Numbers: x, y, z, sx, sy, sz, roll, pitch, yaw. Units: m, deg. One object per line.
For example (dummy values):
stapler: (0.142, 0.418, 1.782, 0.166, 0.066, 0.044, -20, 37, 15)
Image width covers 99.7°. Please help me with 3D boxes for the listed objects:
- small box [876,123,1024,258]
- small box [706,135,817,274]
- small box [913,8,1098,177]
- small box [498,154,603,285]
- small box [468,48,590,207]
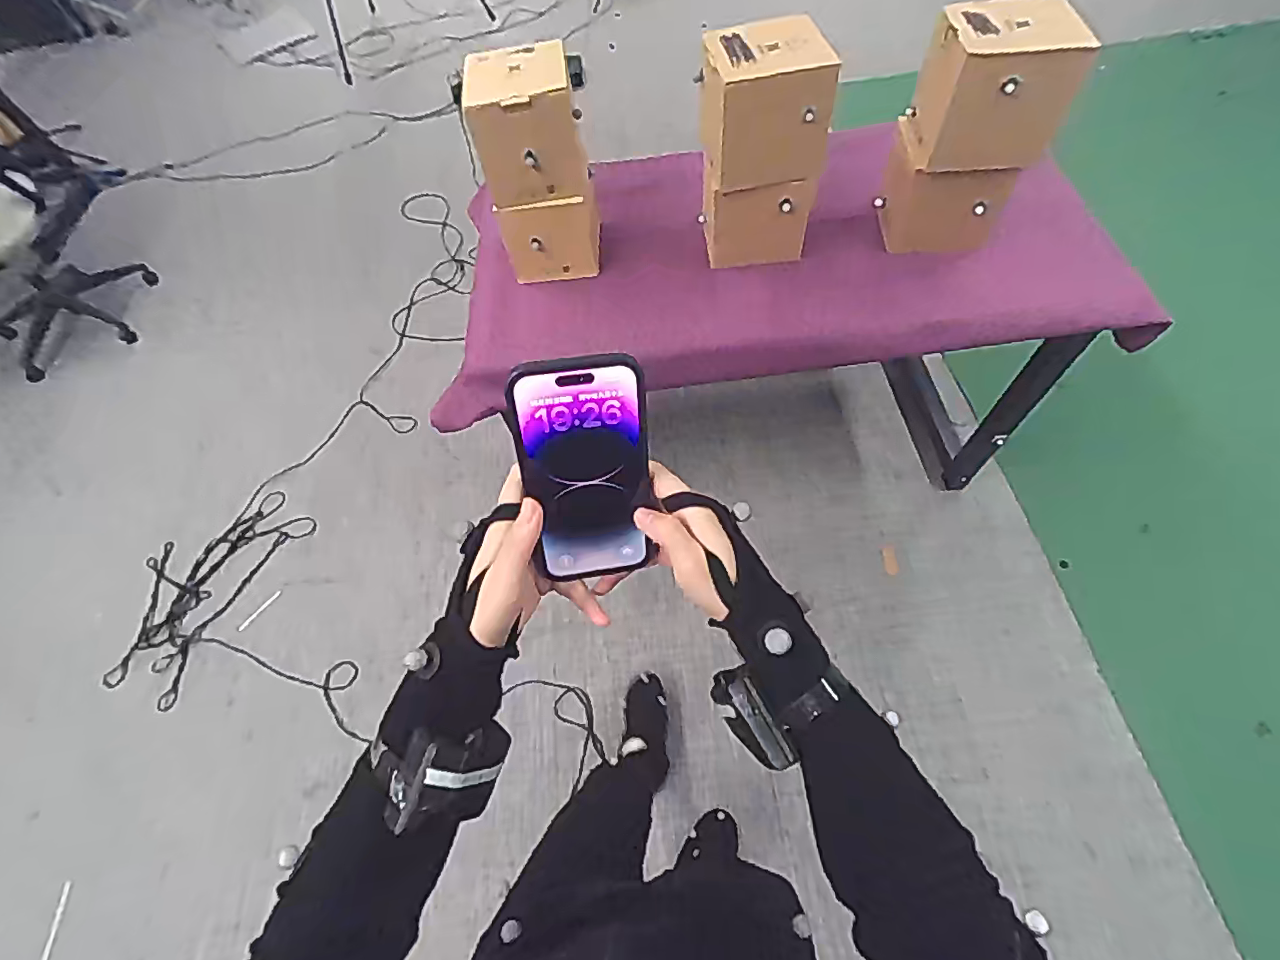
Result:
small box: (0.560, -0.534, 1.003, 0.179, 0.176, 0.168, 1, 60, 7)
small box: (0.221, -0.520, 1.032, 0.179, 0.176, 0.168, -5, 59, 4)
small box: (0.553, -0.603, 0.855, 0.179, 0.176, 0.168, 1, 60, 6)
small box: (-0.168, -0.506, 1.070, 0.168, 0.176, 0.179, -4, 59, 4)
small box: (-0.184, -0.595, 0.933, 0.168, 0.176, 0.179, -8, 60, 1)
